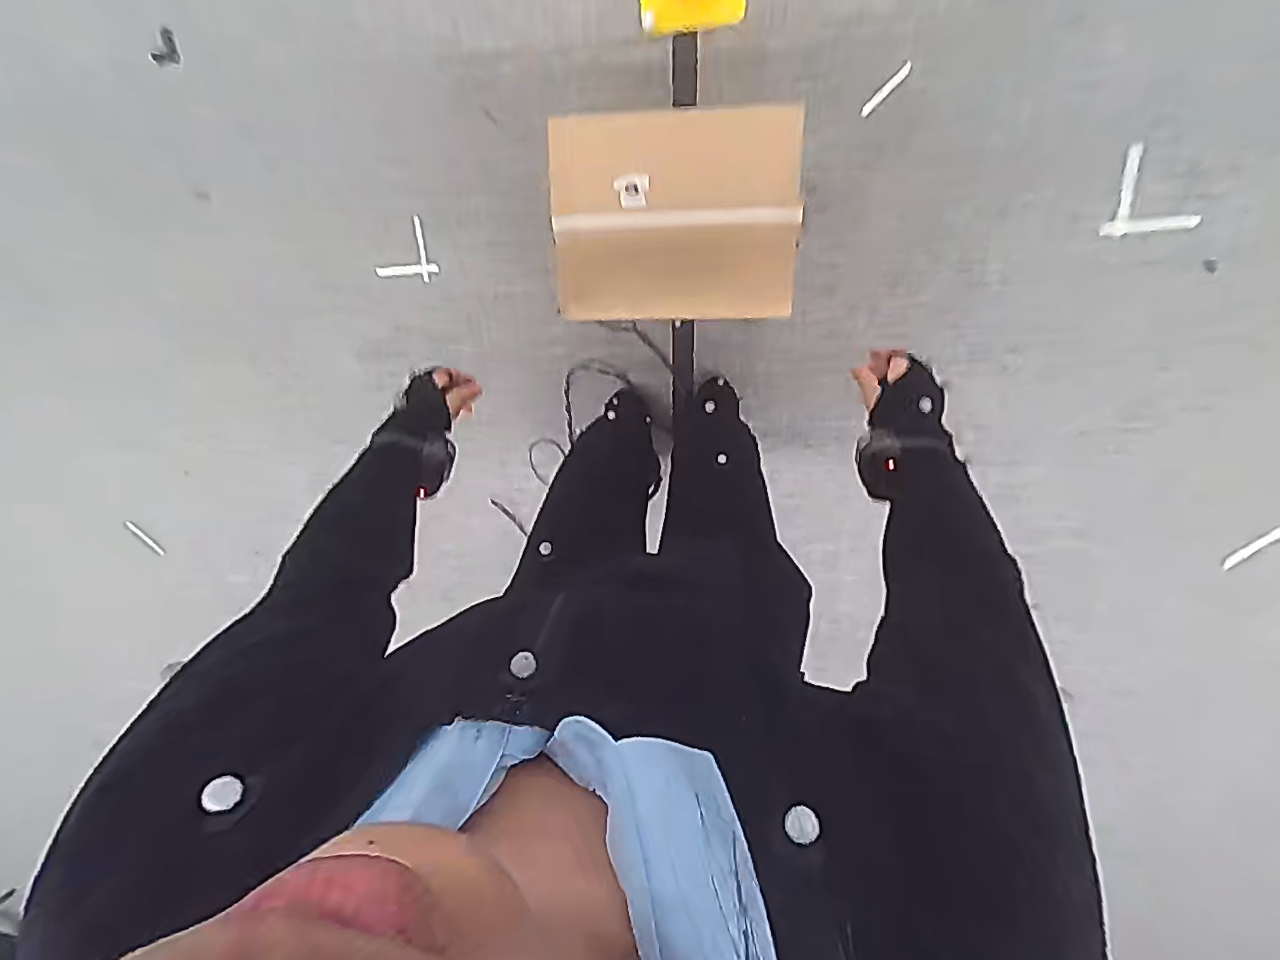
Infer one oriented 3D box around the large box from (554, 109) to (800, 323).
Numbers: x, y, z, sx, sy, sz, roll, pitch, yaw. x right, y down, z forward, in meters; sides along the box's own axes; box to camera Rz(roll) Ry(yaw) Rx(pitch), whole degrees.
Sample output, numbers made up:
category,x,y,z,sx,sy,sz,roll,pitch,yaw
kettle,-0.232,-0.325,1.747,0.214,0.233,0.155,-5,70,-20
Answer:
category,x,y,z,sx,sy,sz,roll,pitch,yaw
large box,0.079,-0.474,1.045,0.408,0.320,0.320,1,107,8
